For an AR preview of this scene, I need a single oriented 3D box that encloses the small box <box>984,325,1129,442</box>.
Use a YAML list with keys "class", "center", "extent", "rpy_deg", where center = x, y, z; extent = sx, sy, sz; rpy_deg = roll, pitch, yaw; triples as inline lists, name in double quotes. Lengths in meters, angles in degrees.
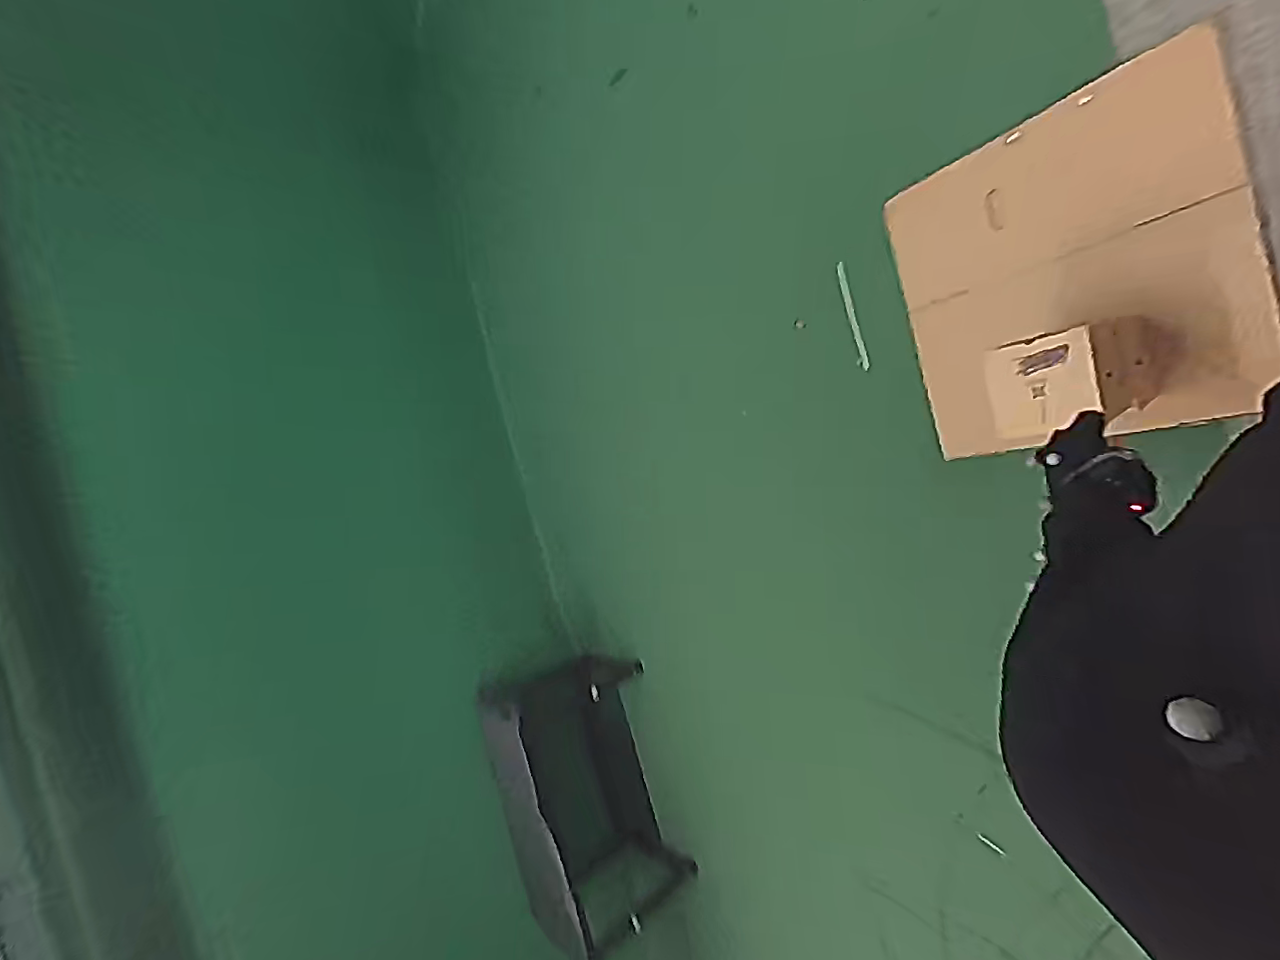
- class: "small box"
  center: [0.780, -0.183, 1.013]
  extent: [0.168, 0.176, 0.179]
  rpy_deg: [-9, 98, 54]
